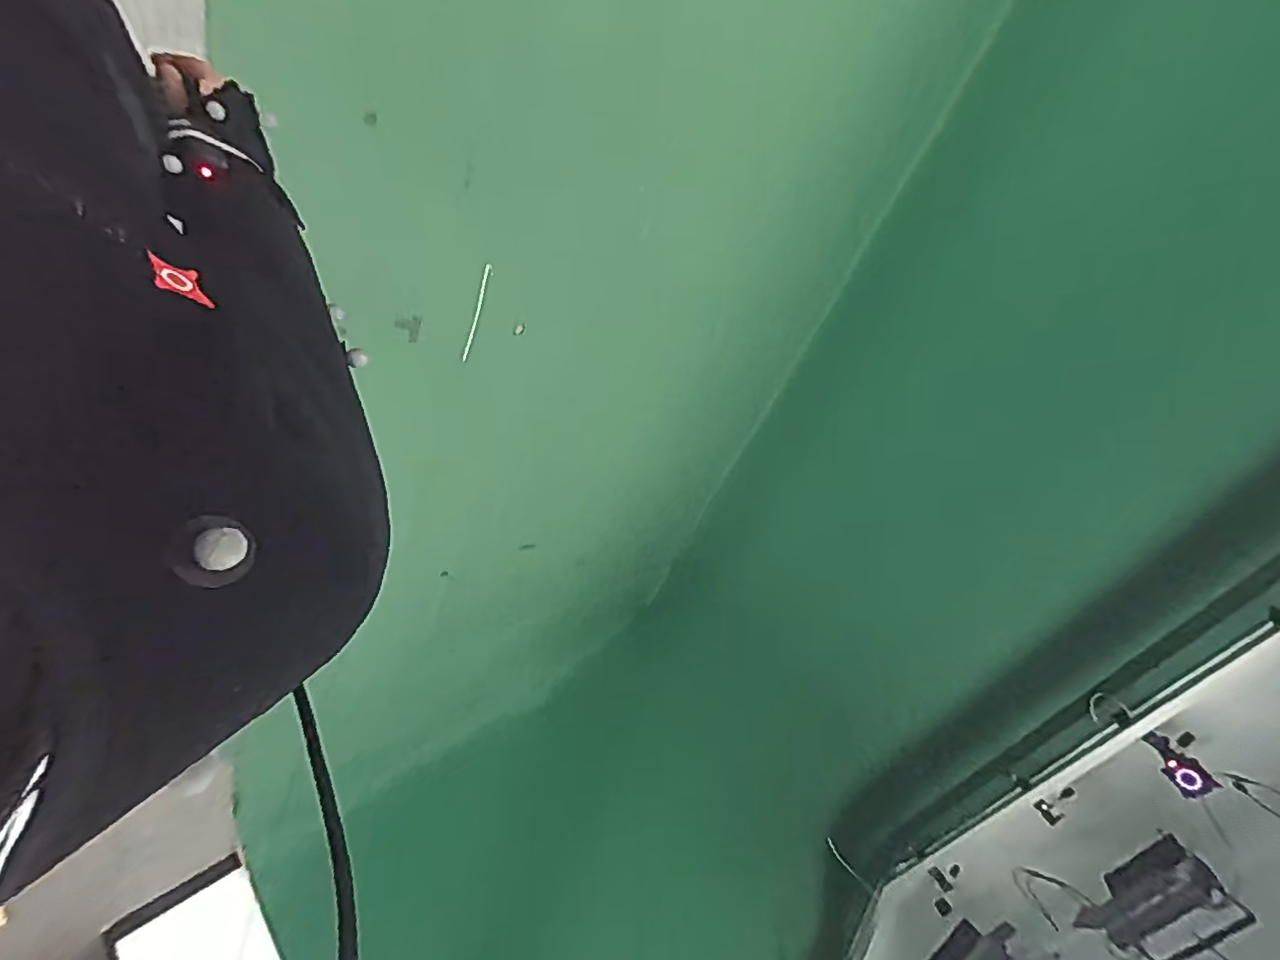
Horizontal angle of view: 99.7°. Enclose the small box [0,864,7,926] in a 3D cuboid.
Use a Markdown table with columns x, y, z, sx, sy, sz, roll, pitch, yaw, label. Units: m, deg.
| x | y | z | sx | sy | sz | roll | pitch | yaw | label |
| --- | --- | --- | --- | --- | --- | --- | --- | --- | --- |
| -1.023 | 0.562 | 0.749 | 0.168 | 0.176 | 0.179 | -11 | 138 | -49 | small box |
